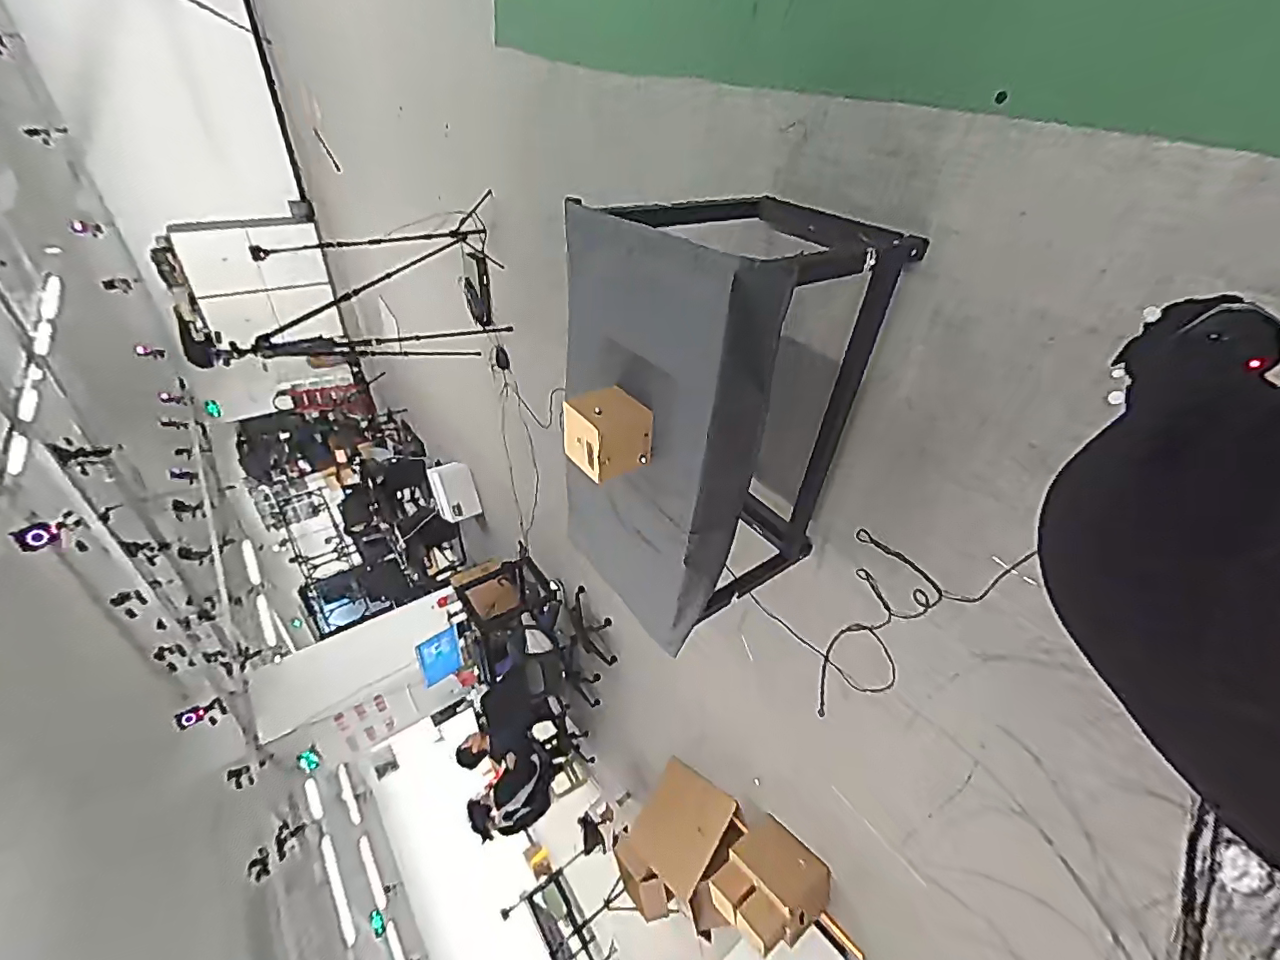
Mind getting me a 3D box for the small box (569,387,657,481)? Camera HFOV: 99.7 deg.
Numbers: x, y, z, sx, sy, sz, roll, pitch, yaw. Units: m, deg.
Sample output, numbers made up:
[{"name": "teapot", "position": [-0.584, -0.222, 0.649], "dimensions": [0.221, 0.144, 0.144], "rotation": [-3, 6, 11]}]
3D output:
[{"name": "small box", "position": [-0.072, -0.131, 1.436], "dimensions": [0.179, 0.176, 0.168], "rotation": [42, 141, 39]}]
